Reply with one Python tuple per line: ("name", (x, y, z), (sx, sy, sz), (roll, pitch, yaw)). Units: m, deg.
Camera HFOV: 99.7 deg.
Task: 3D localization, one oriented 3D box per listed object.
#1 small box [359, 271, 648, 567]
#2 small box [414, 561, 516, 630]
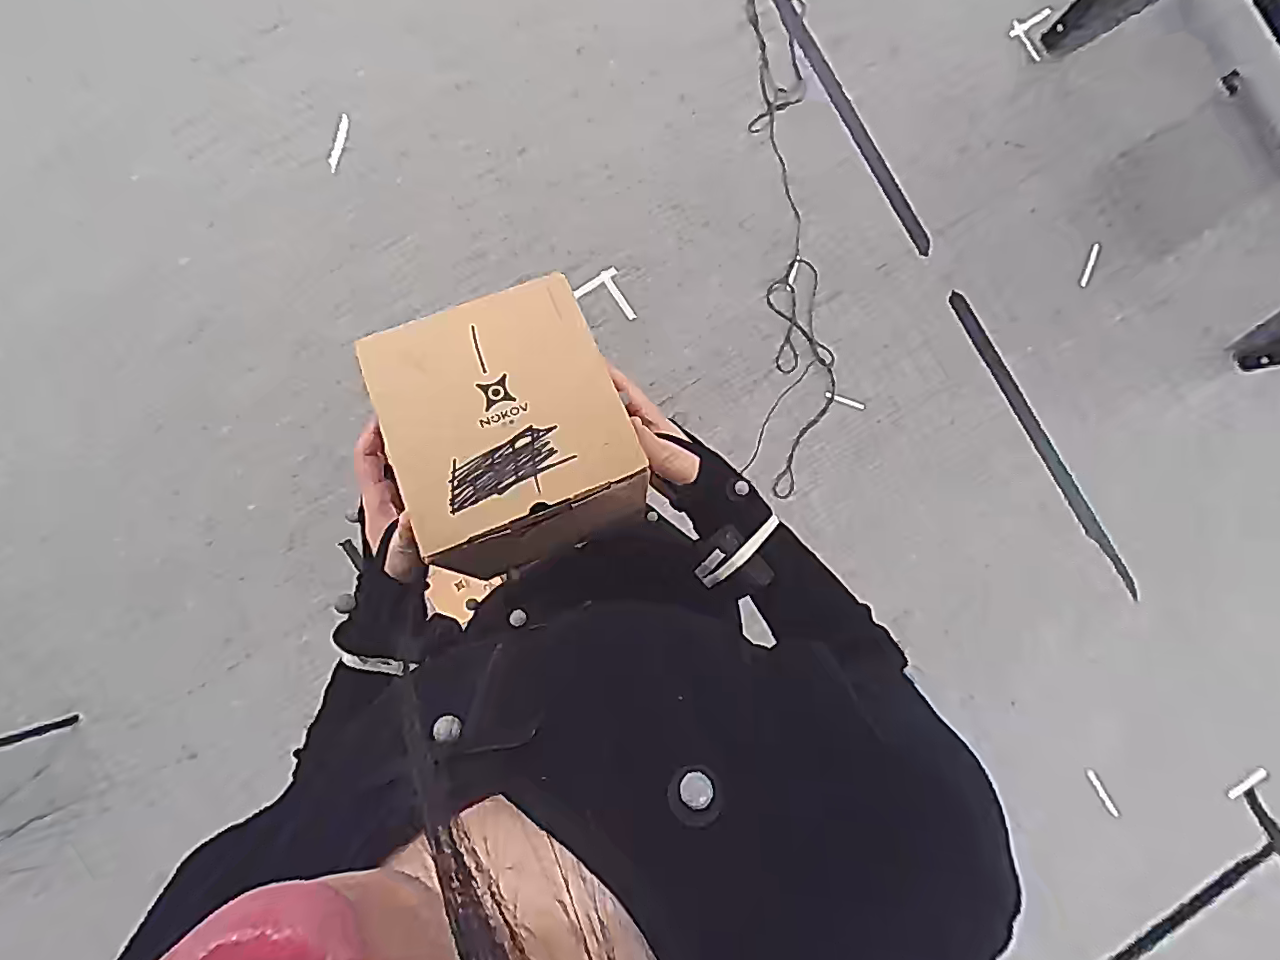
("small box", (-0.100, -0.034, 0.459), (0.168, 0.176, 0.179), (-21, 76, -8))
("small box", (-0.440, 0.257, 1.393), (0.179, 0.176, 0.168), (-29, 91, -5))
